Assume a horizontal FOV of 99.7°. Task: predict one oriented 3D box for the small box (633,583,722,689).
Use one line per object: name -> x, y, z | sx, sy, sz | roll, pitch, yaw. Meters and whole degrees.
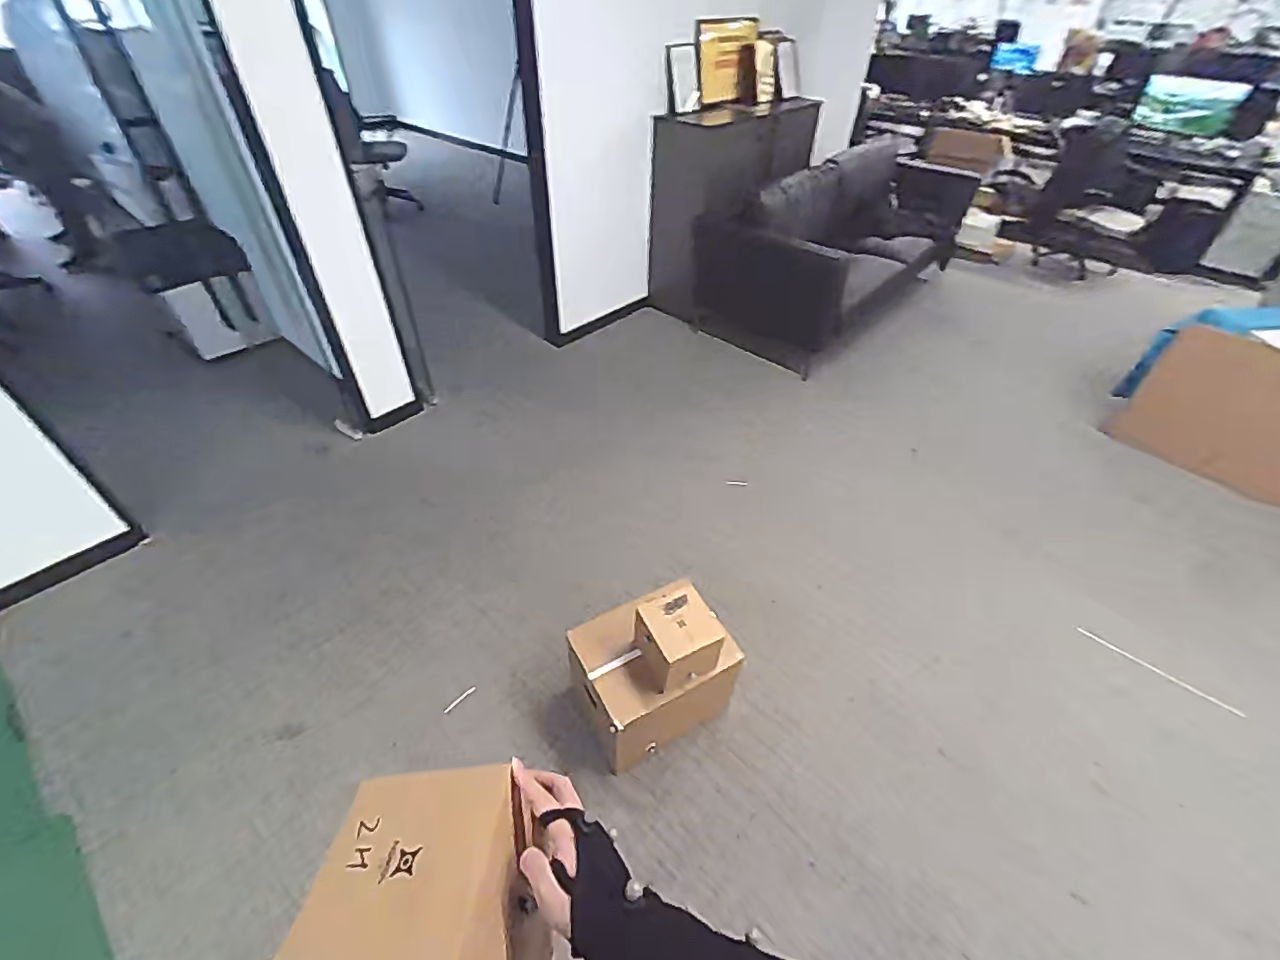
small box -> 0.089, 0.406, 1.409 | 0.168, 0.176, 0.179 | -18, 48, -21
